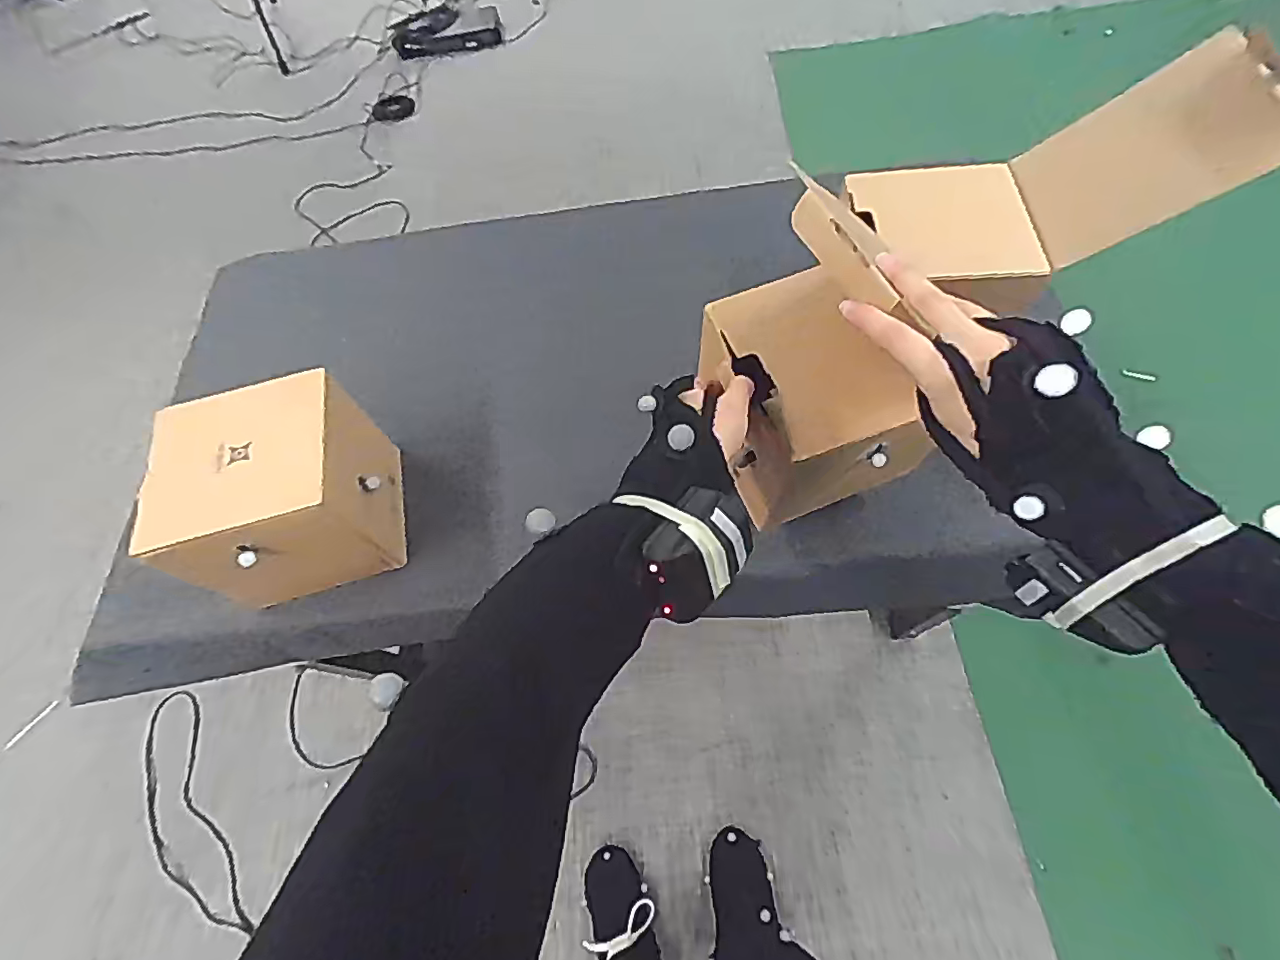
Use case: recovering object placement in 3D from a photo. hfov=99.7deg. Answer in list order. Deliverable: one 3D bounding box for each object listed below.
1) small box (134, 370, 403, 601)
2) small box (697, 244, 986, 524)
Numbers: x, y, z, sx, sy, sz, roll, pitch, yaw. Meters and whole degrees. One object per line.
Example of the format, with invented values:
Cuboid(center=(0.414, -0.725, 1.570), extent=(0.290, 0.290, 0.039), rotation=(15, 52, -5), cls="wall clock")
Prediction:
Cuboid(center=(-0.374, 0.014, 0.585), extent=(0.179, 0.176, 0.168), rotation=(-16, 62, -2), cls="small box")
Cuboid(center=(0.162, -0.078, 0.509), extent=(0.179, 0.176, 0.168), rotation=(-20, 68, -7), cls="small box")
